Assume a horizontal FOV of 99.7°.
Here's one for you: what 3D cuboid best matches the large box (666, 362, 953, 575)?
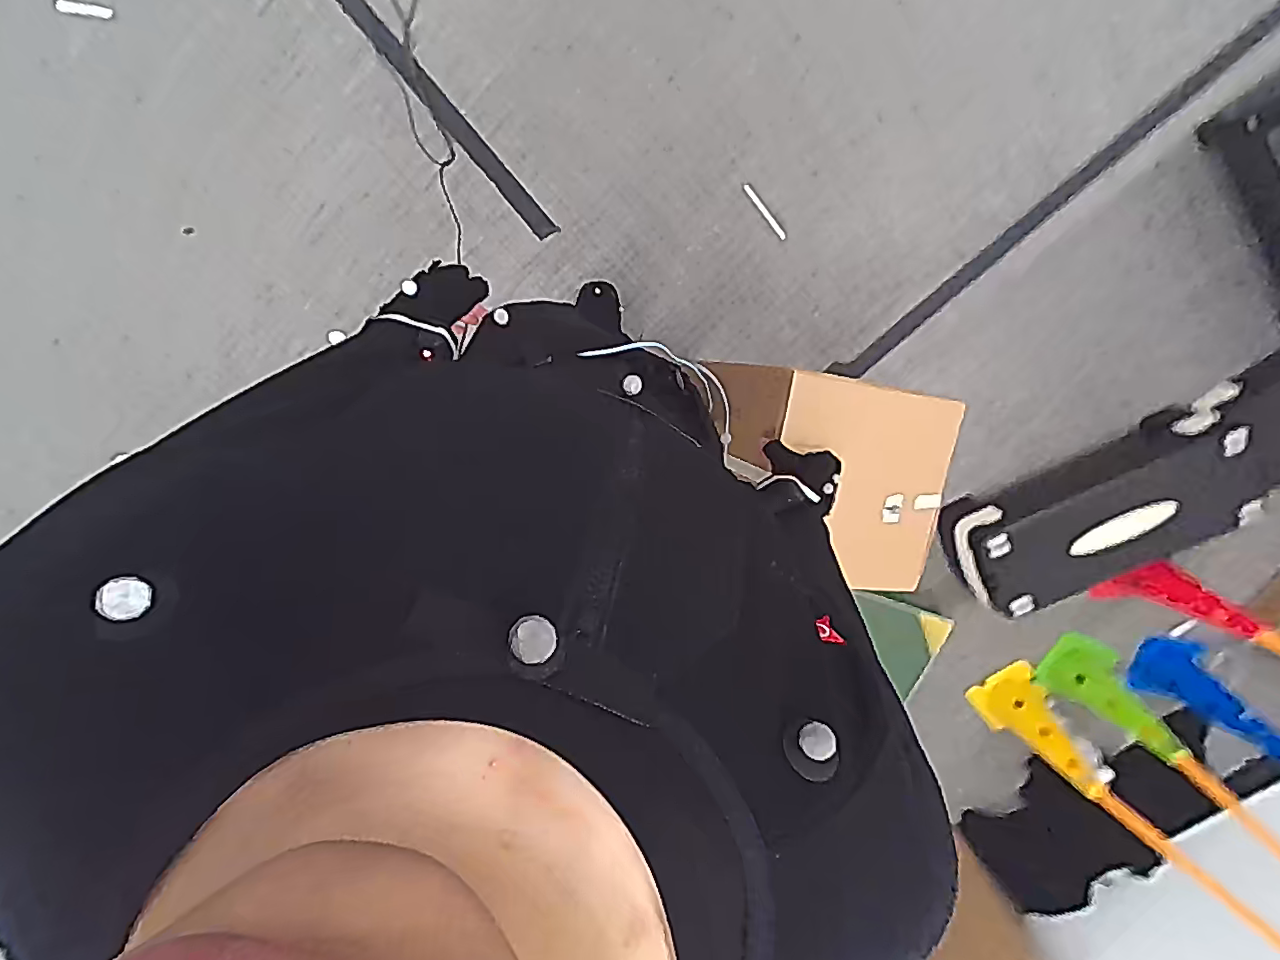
[{"bbox_3d":[0.272,-0.040,0.993,0.320,0.408,0.320,6,102,-17],"label":"large box"}]
